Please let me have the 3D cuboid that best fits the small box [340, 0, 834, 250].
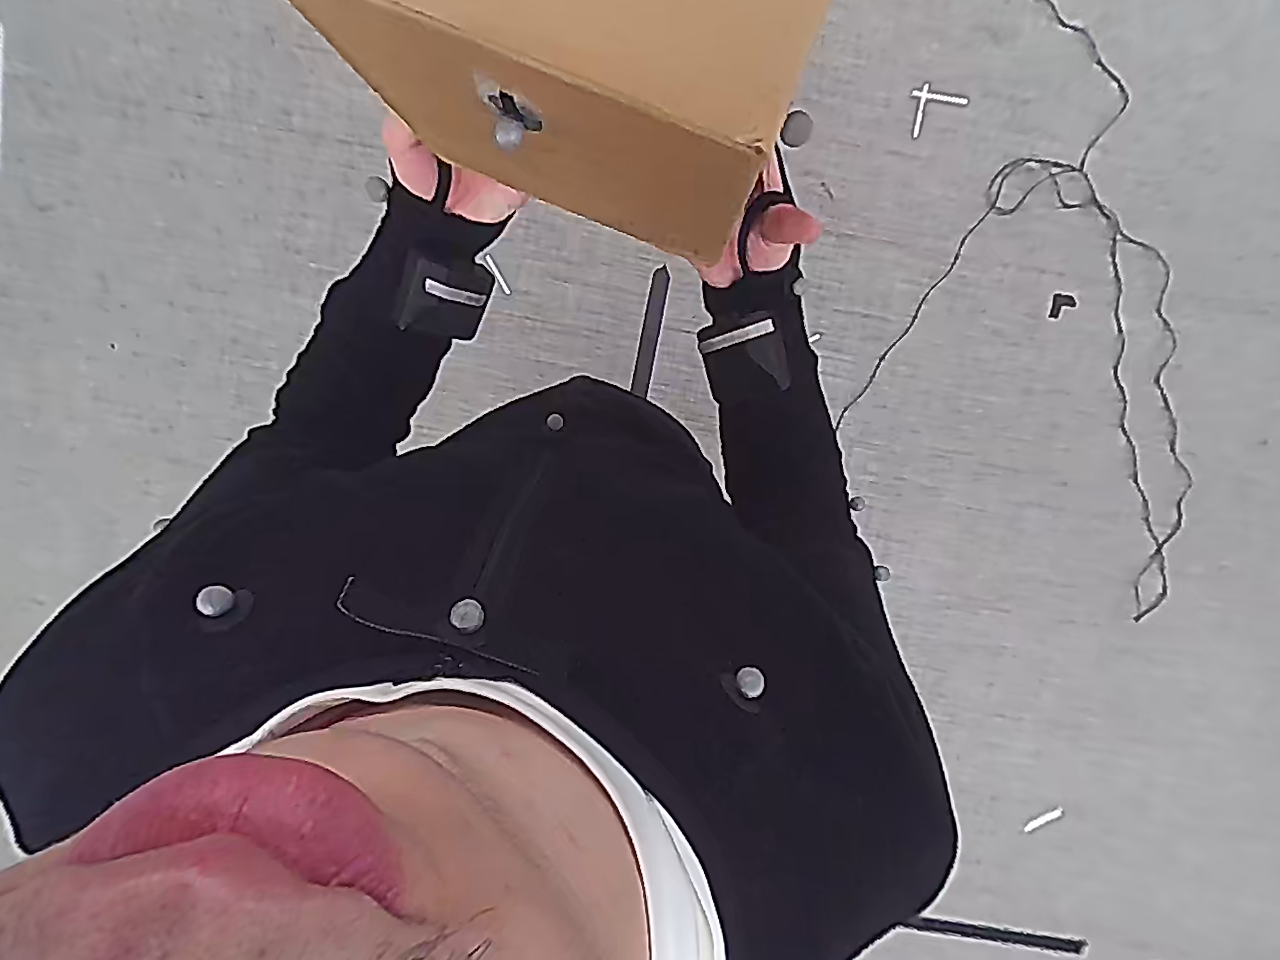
[{"bbox_3d":[-0.006,-0.223,0.235,0.179,0.176,0.168,21,101,-3],"label":"small box"}]
